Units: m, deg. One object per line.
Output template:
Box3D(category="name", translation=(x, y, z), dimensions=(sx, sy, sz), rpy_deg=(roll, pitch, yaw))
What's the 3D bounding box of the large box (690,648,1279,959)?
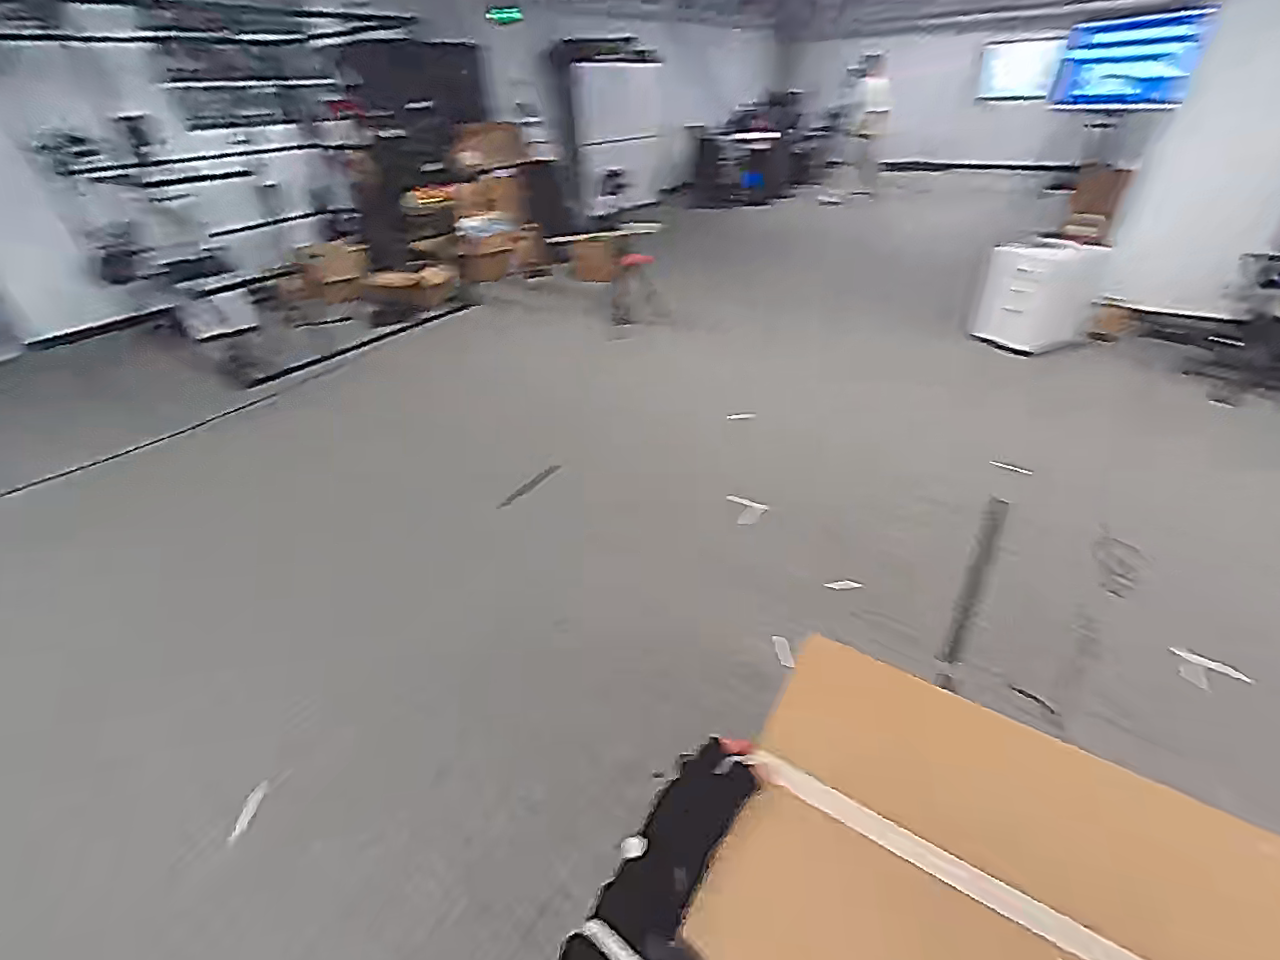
Box3D(category="large box", translation=(0.290, 0.446, 0.531), dimensions=(0.408, 0.320, 0.320), rpy_deg=(21, 49, 25))
